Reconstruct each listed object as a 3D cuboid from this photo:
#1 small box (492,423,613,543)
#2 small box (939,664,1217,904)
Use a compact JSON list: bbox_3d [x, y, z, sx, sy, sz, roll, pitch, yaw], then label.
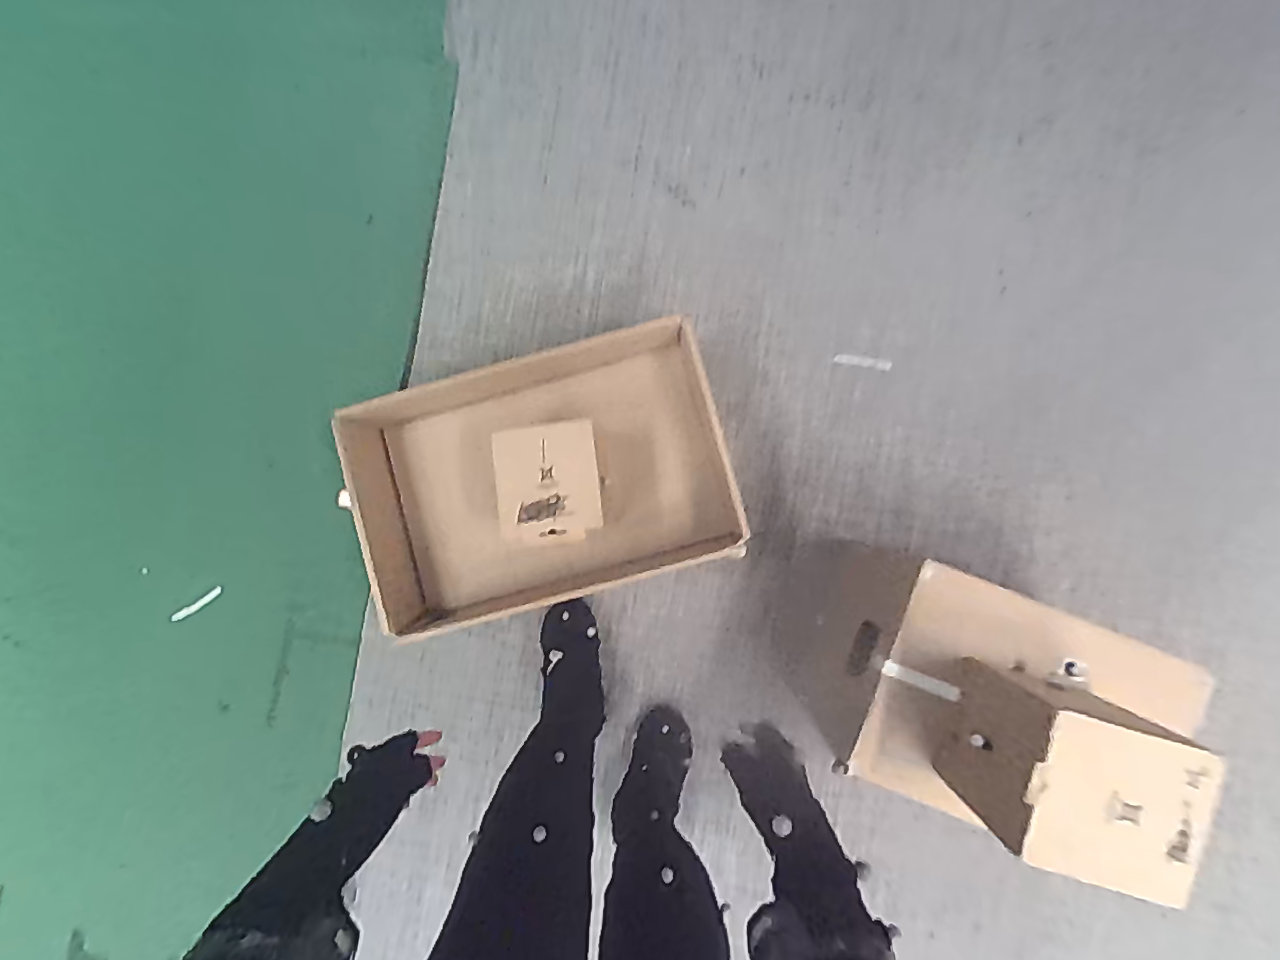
[{"bbox_3d":[-0.142,0.008,0.935,0.168,0.176,0.179,-7,86,3],"label":"small box"},{"bbox_3d":[0.492,0.335,0.638,0.179,0.176,0.168,16,90,3],"label":"small box"}]
